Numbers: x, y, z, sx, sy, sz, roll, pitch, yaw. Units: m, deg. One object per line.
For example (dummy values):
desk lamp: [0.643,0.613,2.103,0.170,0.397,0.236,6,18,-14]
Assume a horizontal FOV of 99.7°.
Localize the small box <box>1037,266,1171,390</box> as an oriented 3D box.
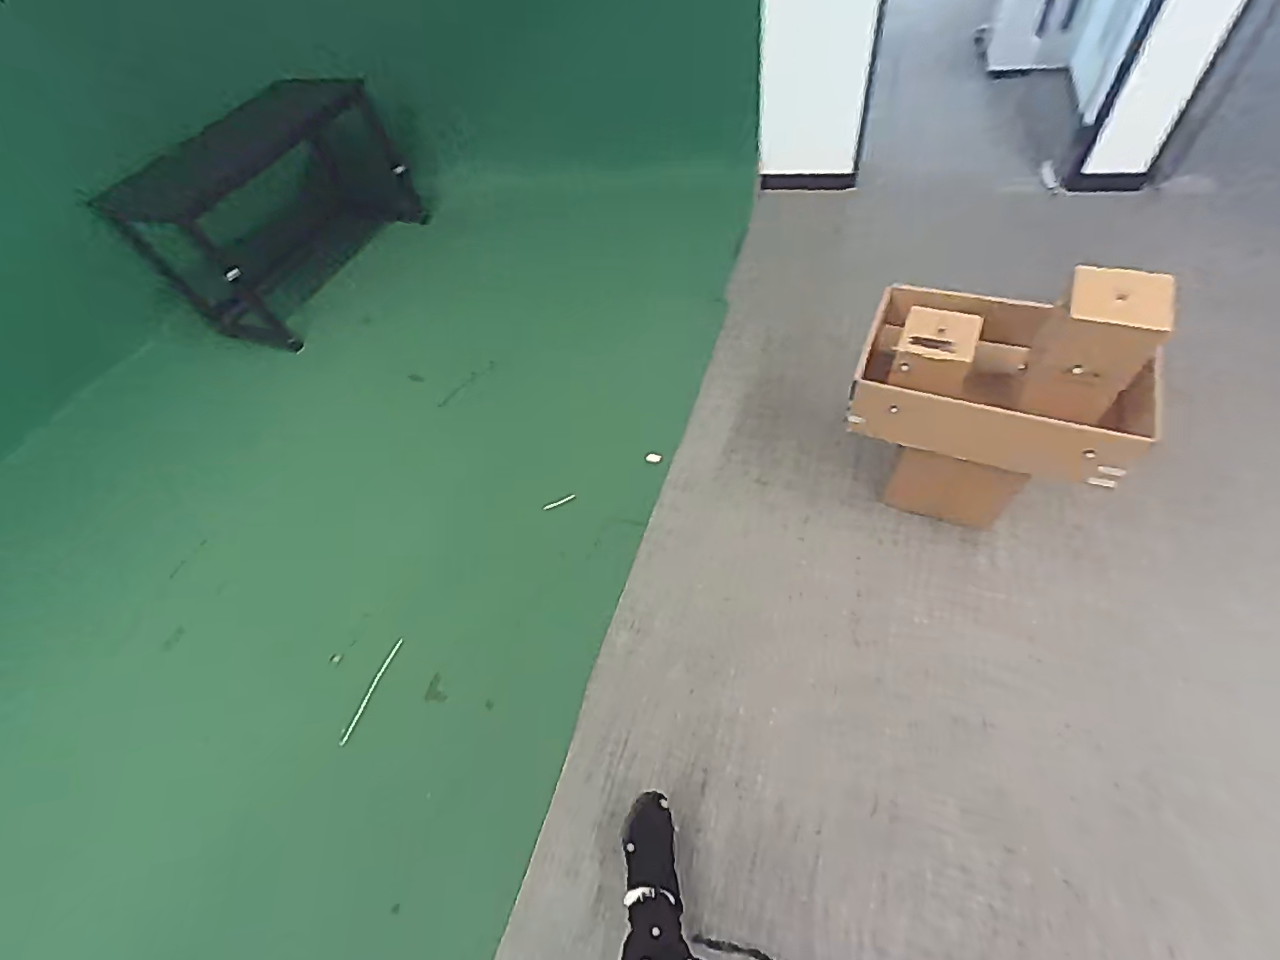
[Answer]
small box: [0.983,-0.325,1.158,0.168,0.176,0.179,18,61,23]
